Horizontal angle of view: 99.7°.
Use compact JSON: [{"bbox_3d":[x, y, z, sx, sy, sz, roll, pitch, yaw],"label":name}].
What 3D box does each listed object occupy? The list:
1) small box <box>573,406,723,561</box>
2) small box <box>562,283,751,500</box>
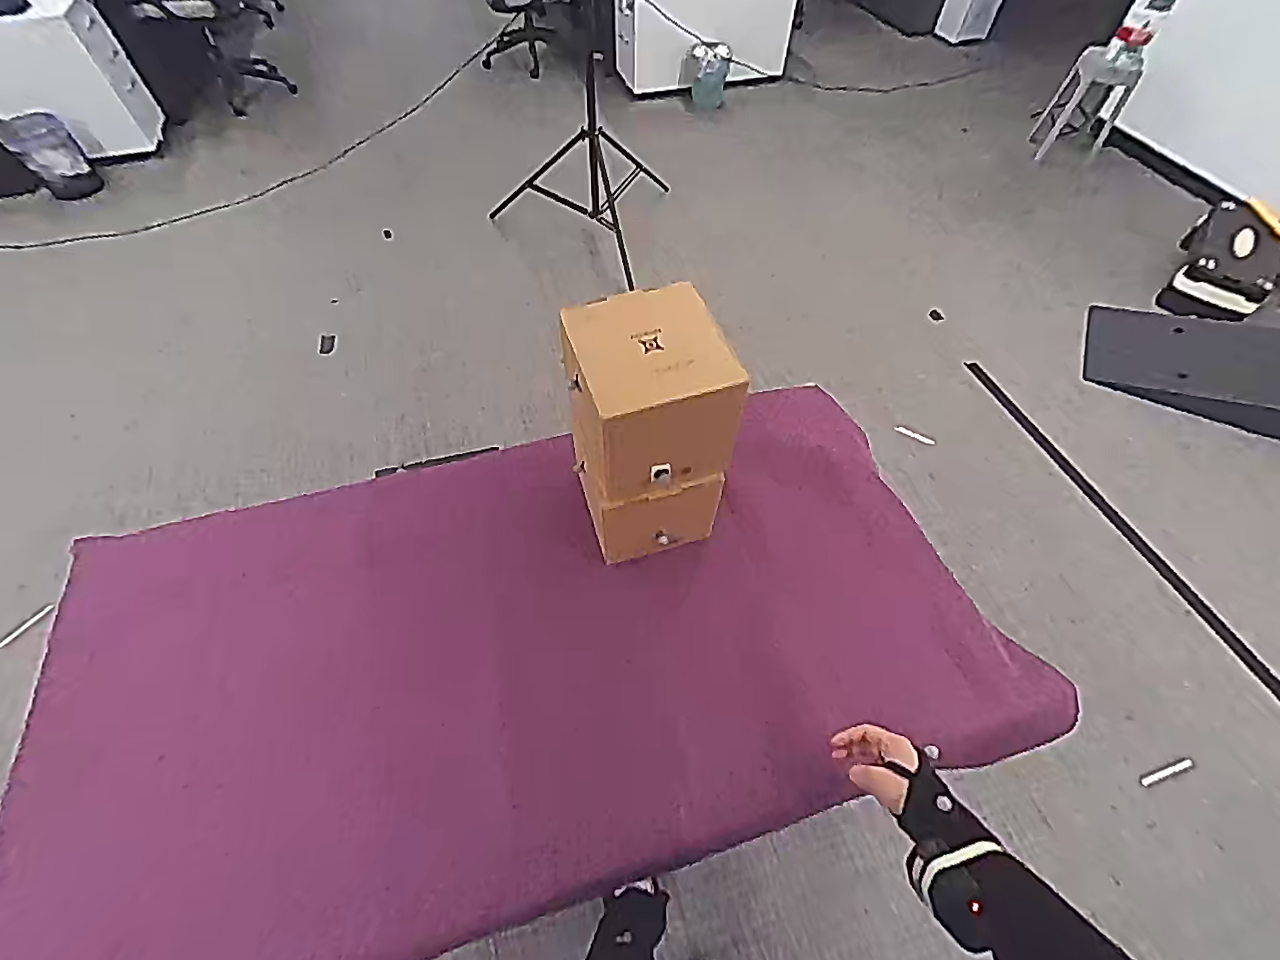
[{"bbox_3d":[0.004,-0.009,0.790,0.168,0.176,0.179,-14,58,-10],"label":"small box"},{"bbox_3d":[0.011,-0.104,0.658,0.168,0.176,0.179,-17,59,-11],"label":"small box"}]
